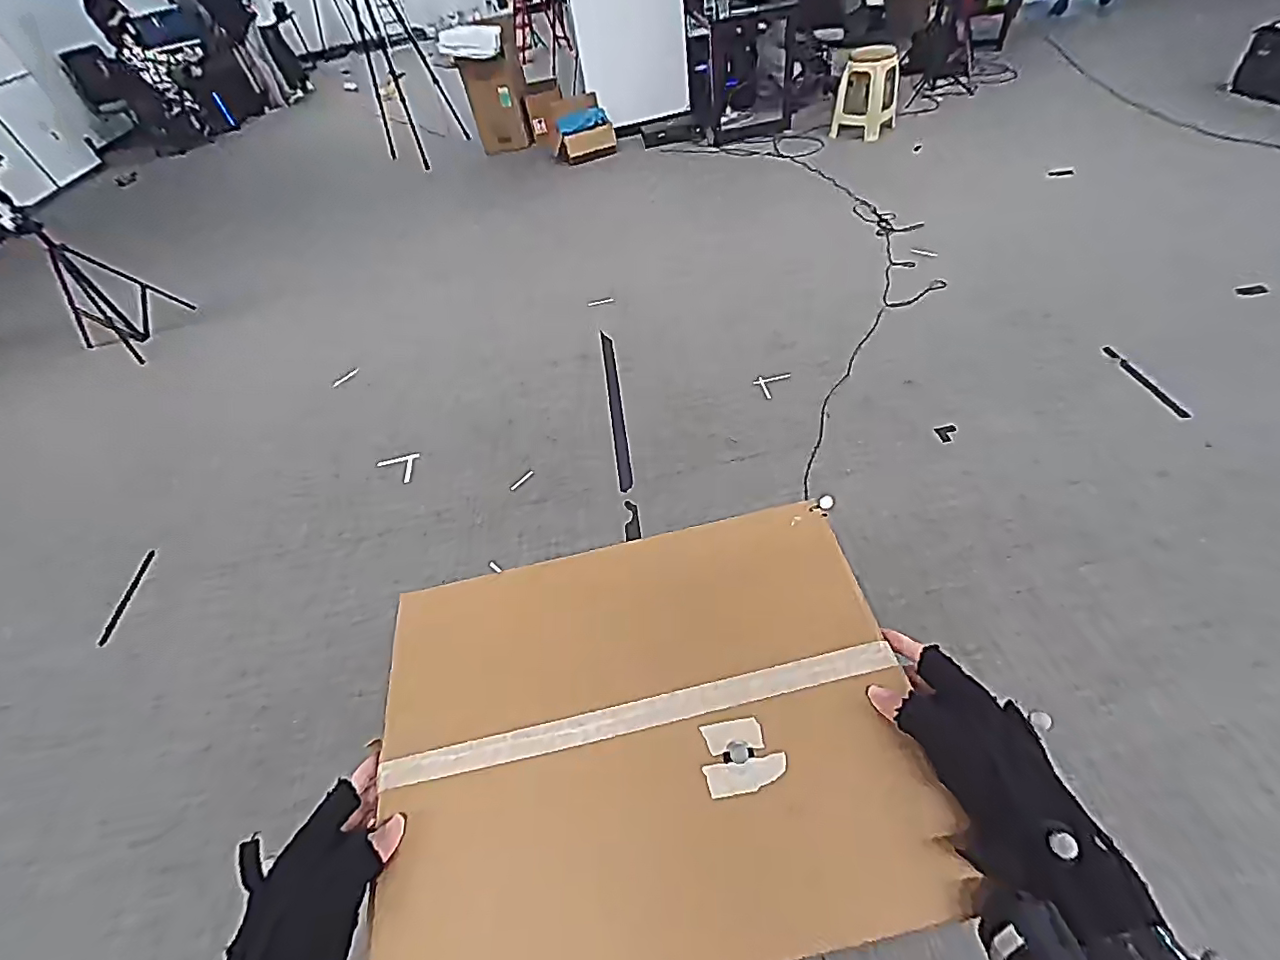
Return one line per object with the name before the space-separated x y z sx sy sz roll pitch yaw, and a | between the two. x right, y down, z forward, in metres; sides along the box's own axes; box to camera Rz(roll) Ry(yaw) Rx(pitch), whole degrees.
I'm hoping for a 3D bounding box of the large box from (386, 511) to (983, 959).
large box | 0.020 0.282 0.549 0.408 0.320 0.320 -13 51 -1
